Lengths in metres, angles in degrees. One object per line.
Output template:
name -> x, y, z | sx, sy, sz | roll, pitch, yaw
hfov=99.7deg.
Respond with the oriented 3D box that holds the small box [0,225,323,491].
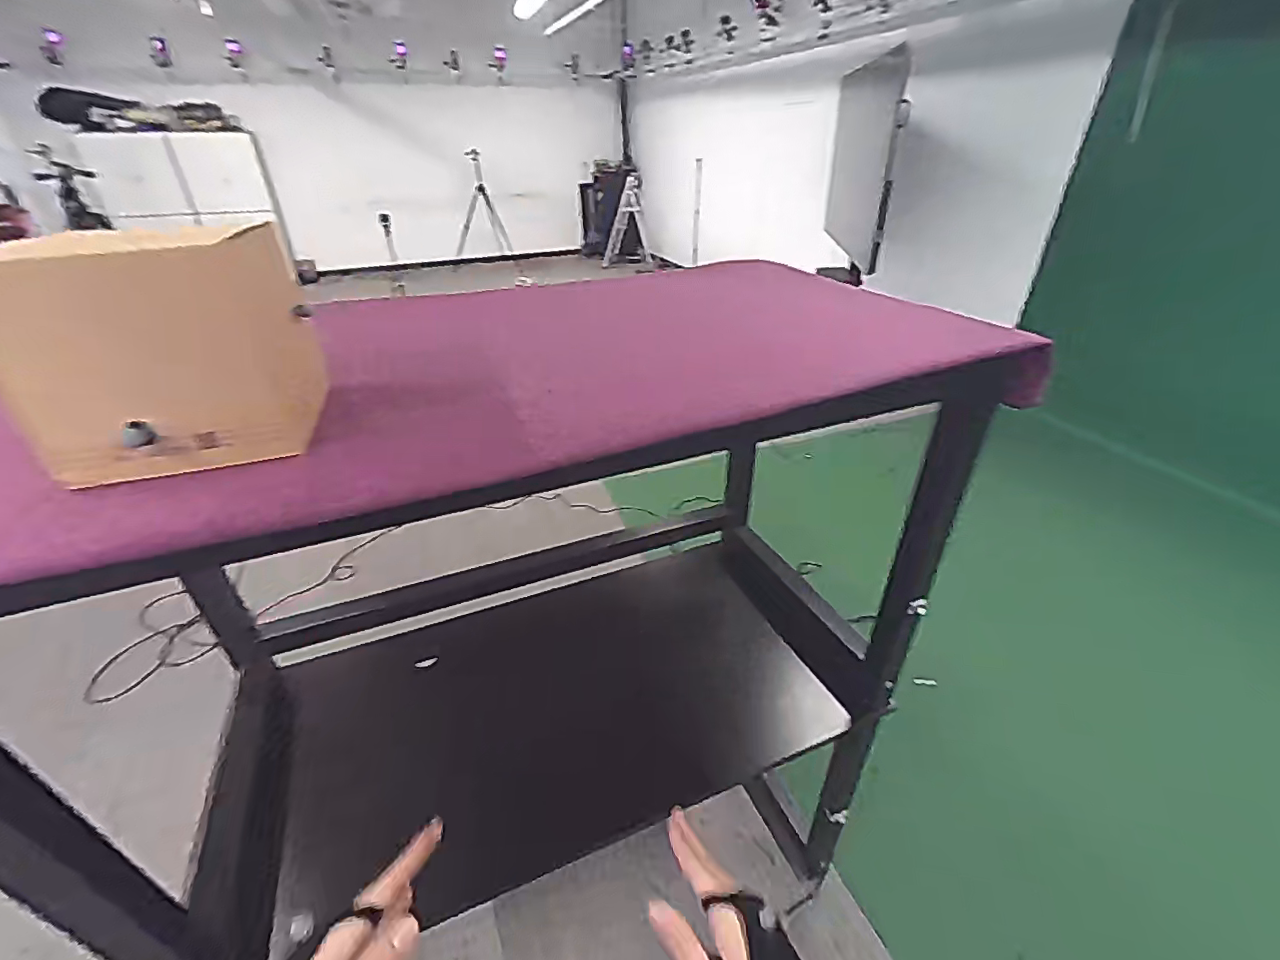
small box -> -0.392, -0.113, 0.460 | 0.168, 0.176, 0.179 | -12, 33, -15
